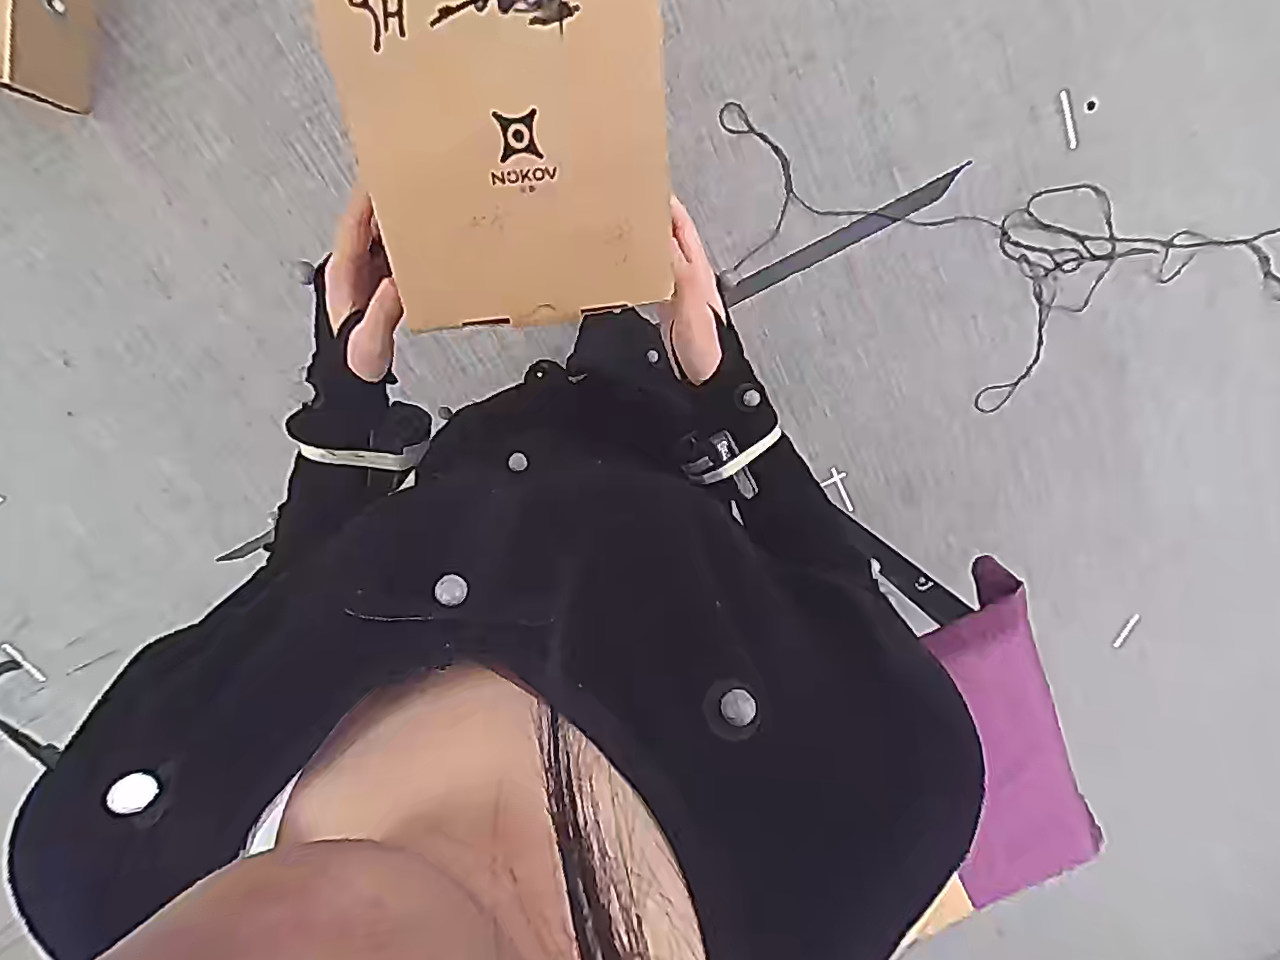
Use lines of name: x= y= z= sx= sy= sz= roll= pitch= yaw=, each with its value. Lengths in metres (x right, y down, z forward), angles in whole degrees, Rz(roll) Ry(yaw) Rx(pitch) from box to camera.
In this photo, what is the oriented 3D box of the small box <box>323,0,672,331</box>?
small box: x=-0.077 y=-0.216 z=0.364 sx=0.168 sy=0.176 sz=0.179 roll=-9 pitch=121 yaw=-7
